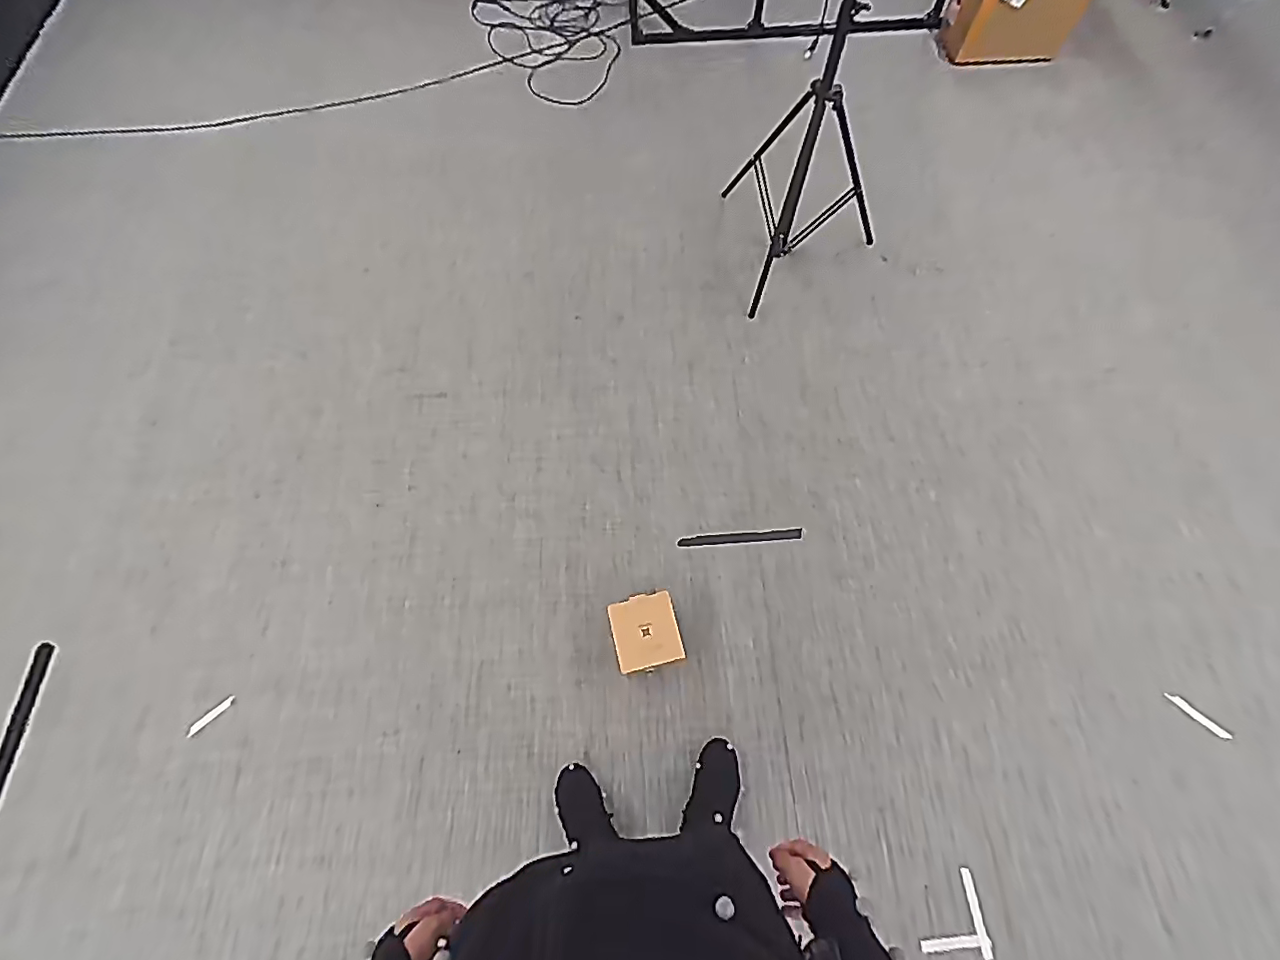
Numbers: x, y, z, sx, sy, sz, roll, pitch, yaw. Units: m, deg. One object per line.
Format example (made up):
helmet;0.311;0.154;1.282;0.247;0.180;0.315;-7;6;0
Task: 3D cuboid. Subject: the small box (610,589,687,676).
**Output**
small box;0.021;0.406;1.426;0.168;0.176;0.179;-13;67;-3
